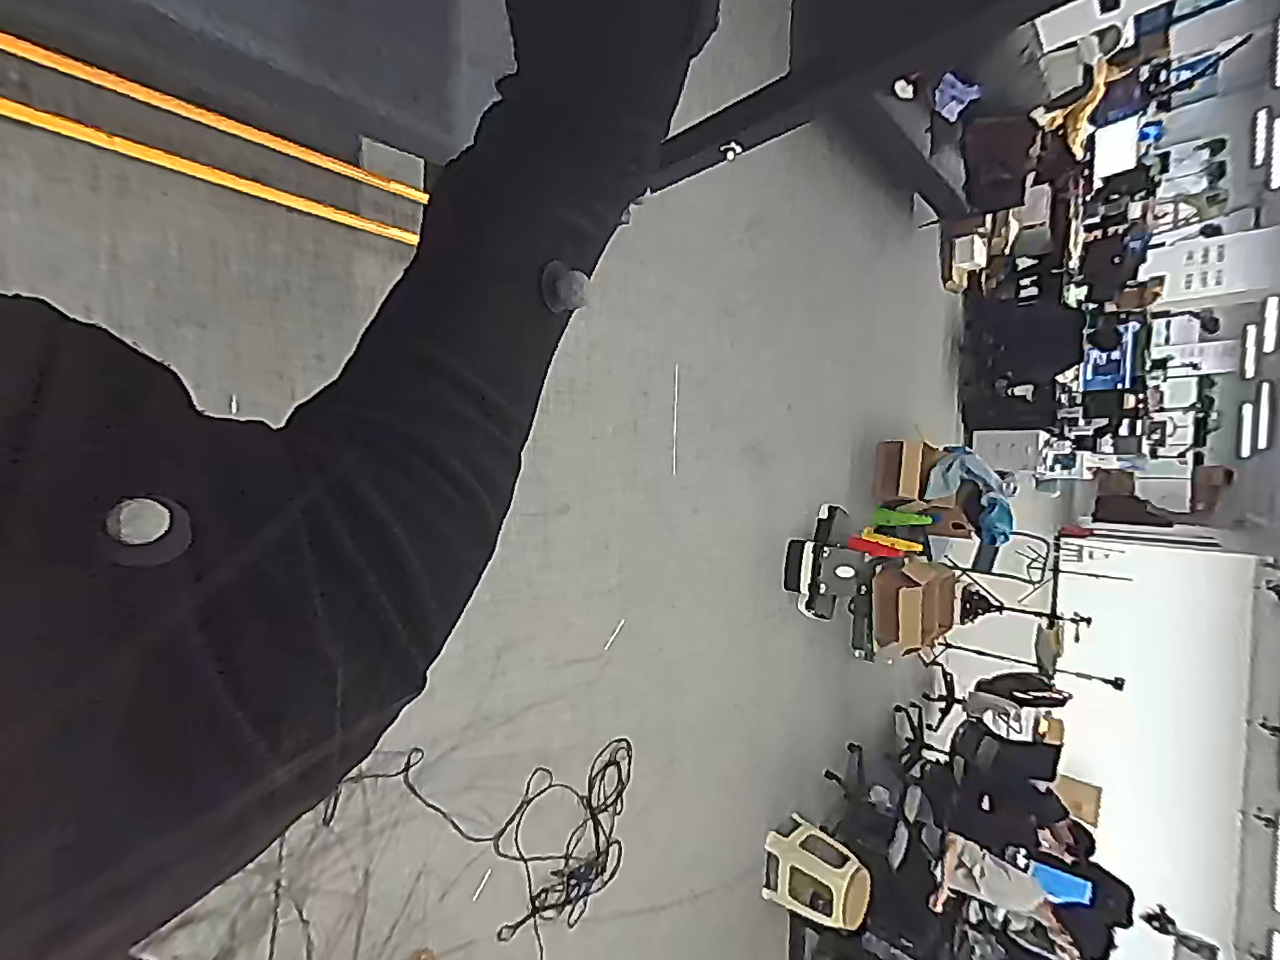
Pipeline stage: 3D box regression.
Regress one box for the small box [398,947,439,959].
[{"bbox_3d":[-0.636,1.447,1.487,0.168,0.176,0.179,5,89,-46],"label":"small box"}]
